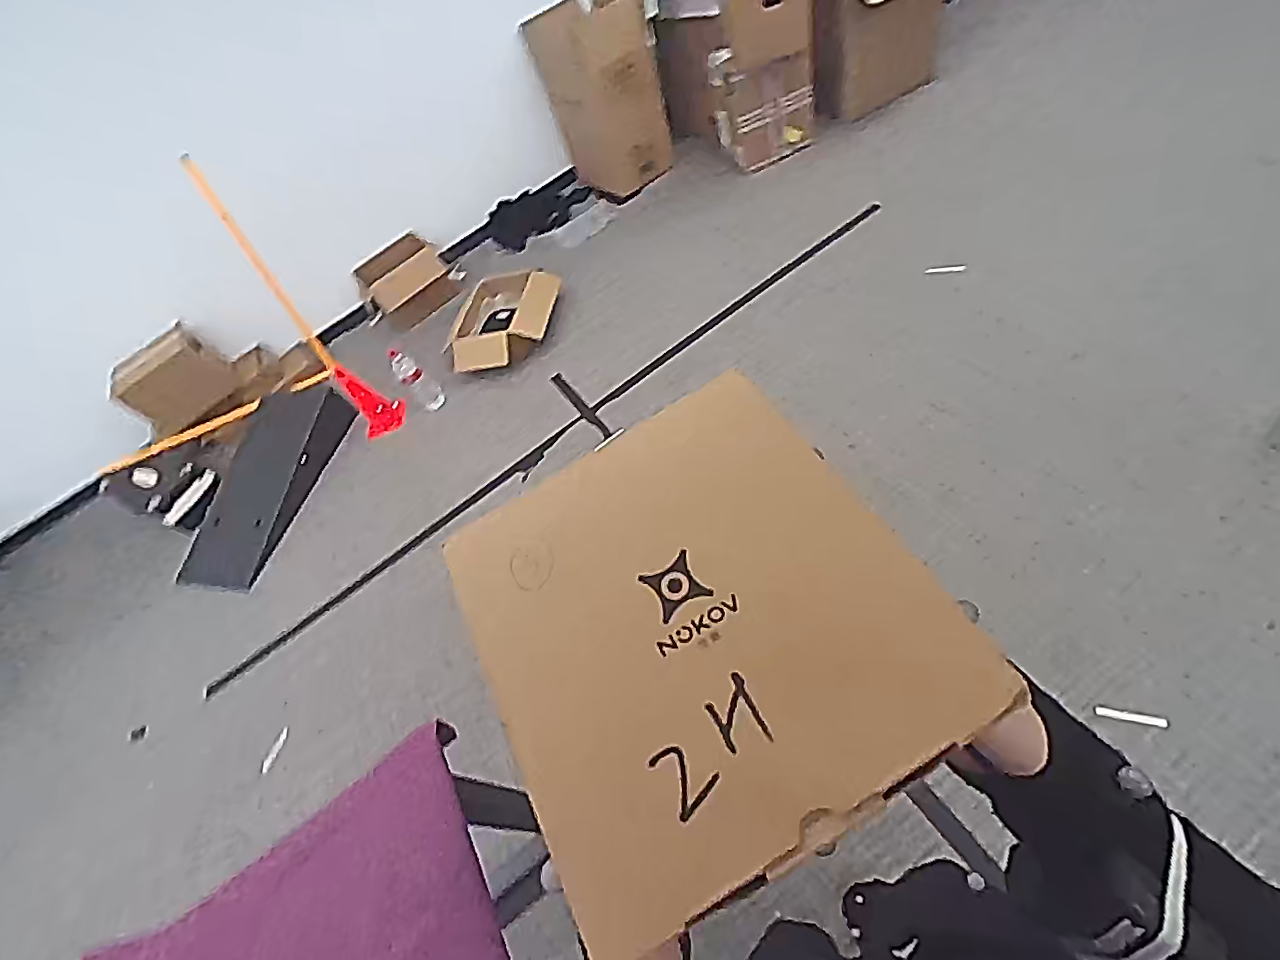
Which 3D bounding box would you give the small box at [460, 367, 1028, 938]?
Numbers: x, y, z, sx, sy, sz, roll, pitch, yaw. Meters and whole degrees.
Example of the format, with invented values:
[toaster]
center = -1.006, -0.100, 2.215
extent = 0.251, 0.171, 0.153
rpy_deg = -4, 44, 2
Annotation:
[small box]
center = 0.038, 0.082, 0.286
extent = 0.168, 0.176, 0.179
rpy_deg = -30, 59, -3
